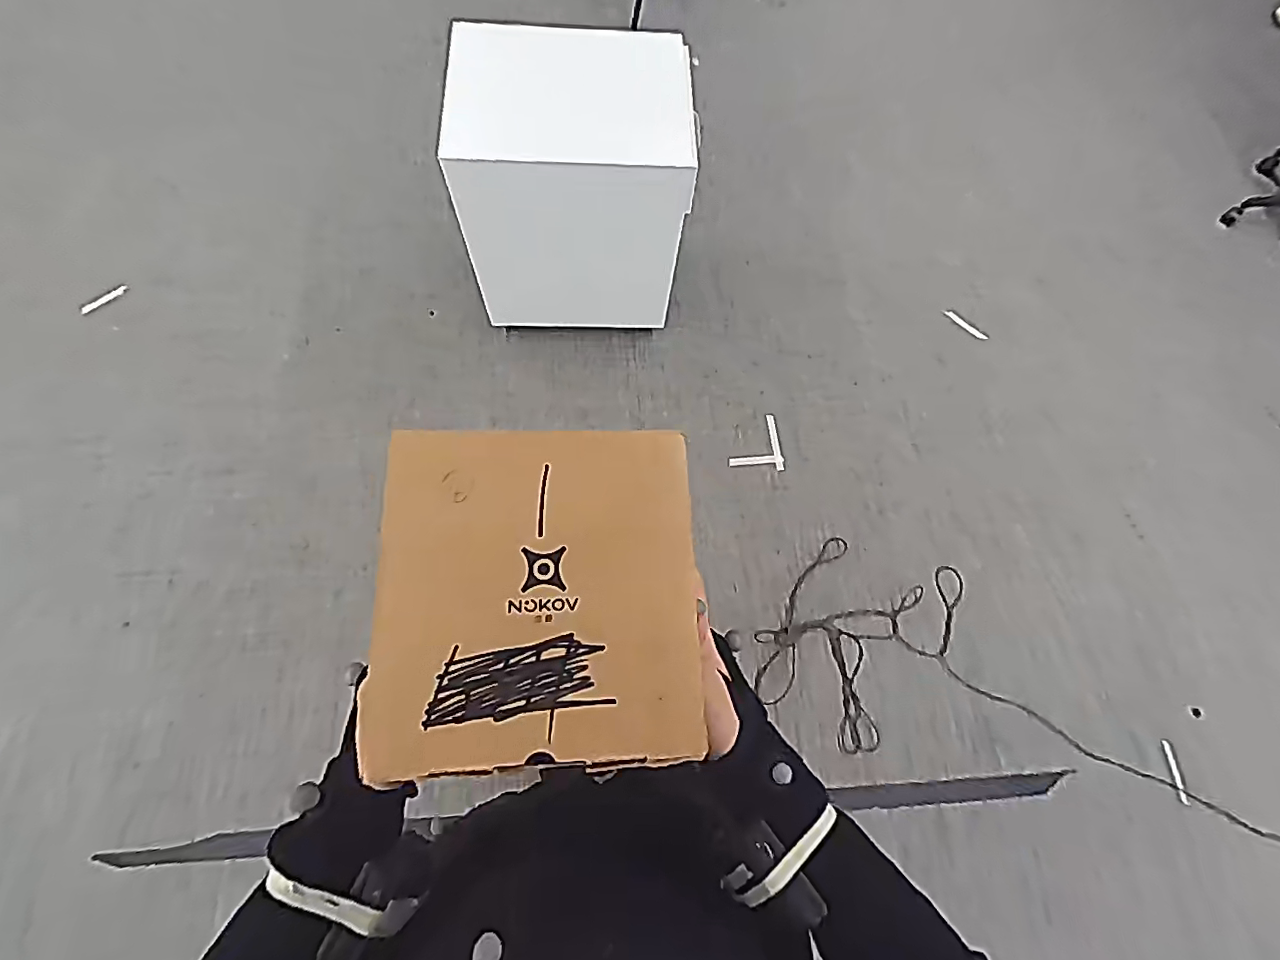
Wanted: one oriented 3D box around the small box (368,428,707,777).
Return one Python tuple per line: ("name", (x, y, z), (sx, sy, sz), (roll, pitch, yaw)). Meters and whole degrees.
("small box", (-0.058, 0.077, 0.358), (0.168, 0.176, 0.179), (-1, 73, -7))
